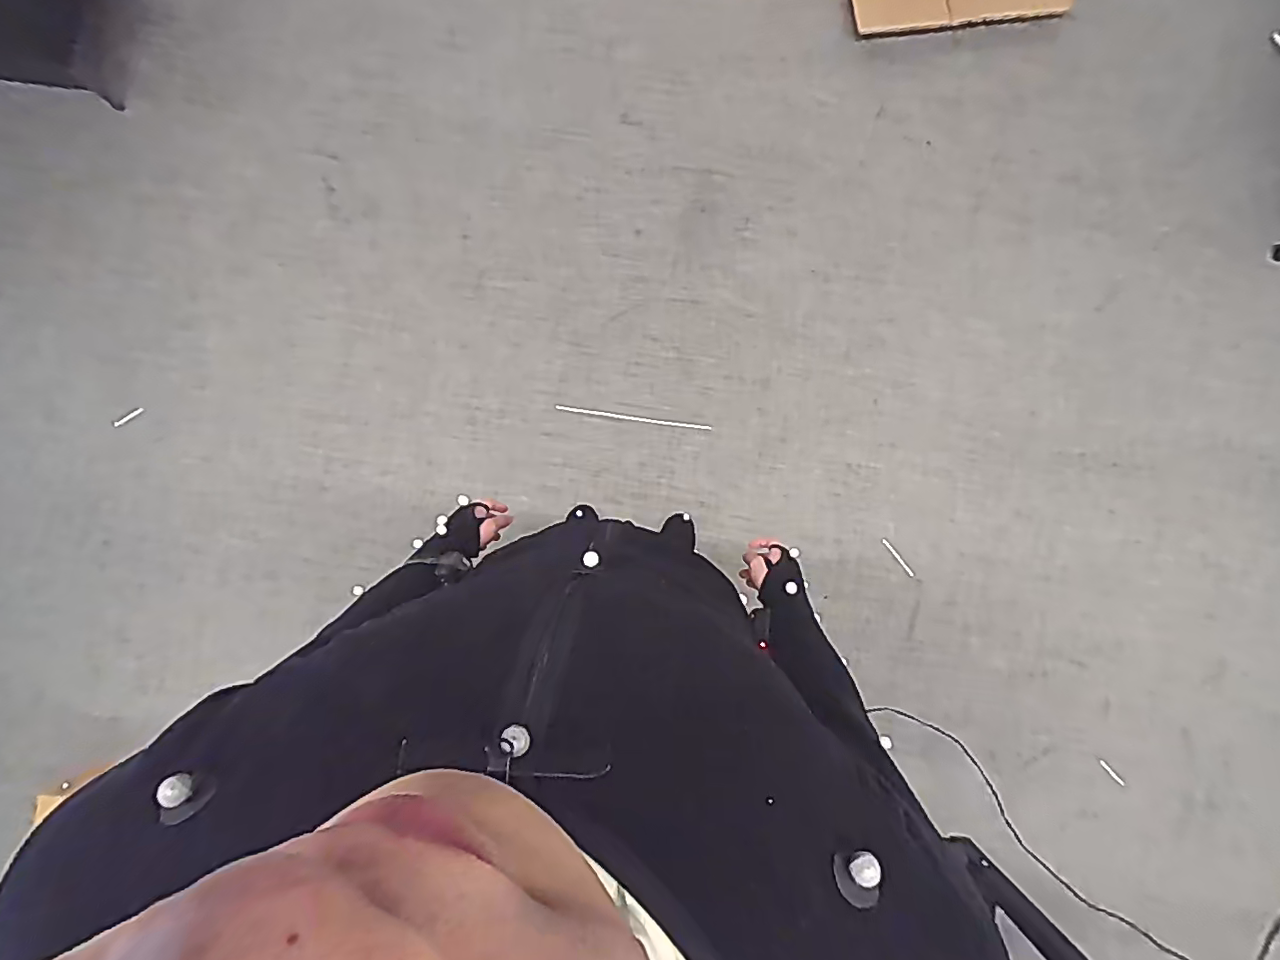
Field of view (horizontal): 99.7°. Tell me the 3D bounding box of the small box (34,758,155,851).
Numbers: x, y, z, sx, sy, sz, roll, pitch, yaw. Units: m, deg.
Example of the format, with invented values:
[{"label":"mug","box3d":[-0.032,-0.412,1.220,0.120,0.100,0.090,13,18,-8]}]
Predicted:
[{"label":"small box","box3d":[-1.532,0.911,1.530,0.179,0.176,0.168,4,87,1]}]
